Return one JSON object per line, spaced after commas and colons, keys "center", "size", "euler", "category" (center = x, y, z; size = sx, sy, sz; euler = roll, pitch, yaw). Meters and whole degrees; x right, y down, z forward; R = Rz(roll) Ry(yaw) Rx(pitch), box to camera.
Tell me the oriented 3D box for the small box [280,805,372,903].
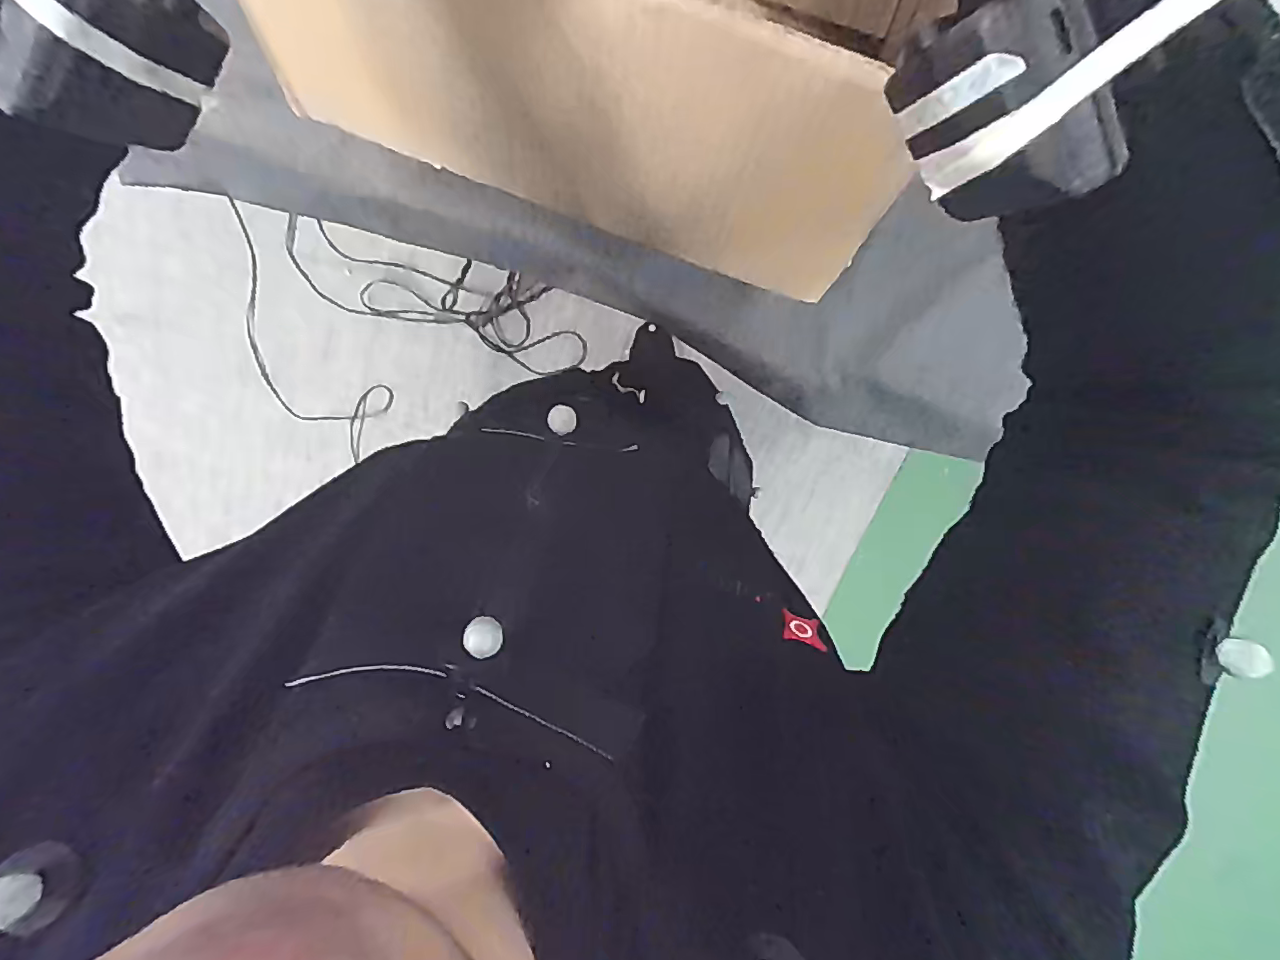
{"center": [-0.985, 1.168, 1.702], "size": [0.179, 0.176, 0.168], "euler": [20, 106, -3], "category": "small box"}
